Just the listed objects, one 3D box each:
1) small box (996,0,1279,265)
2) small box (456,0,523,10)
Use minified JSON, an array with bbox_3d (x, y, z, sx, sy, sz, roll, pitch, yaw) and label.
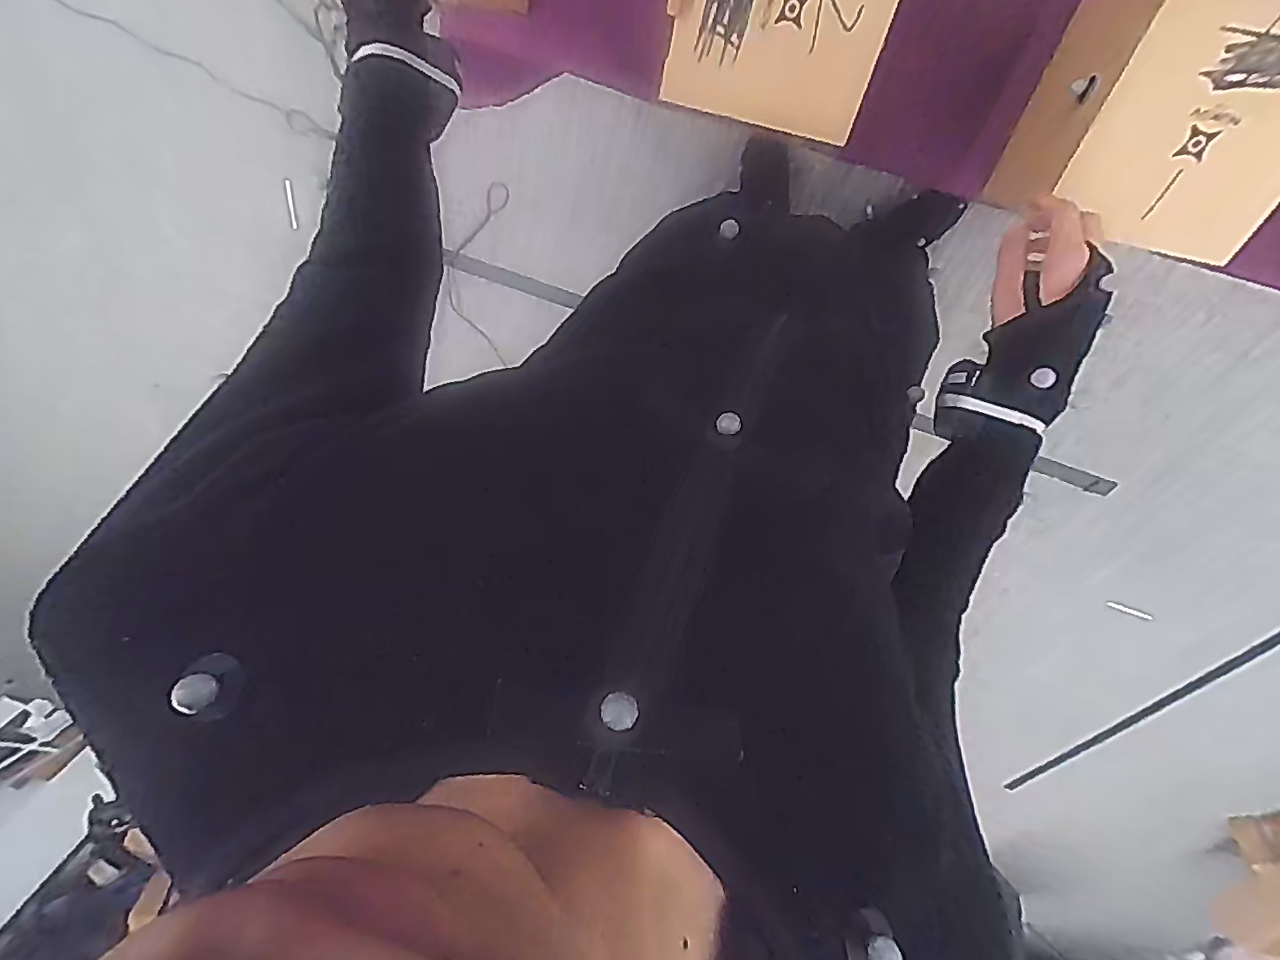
[{"bbox_3d":[0.461,-0.322,0.485,0.168,0.176,0.179,15,130,5],"label":"small box"},{"bbox_3d":[-0.208,-0.560,0.495,0.179,0.176,0.168,17,129,1],"label":"small box"}]
